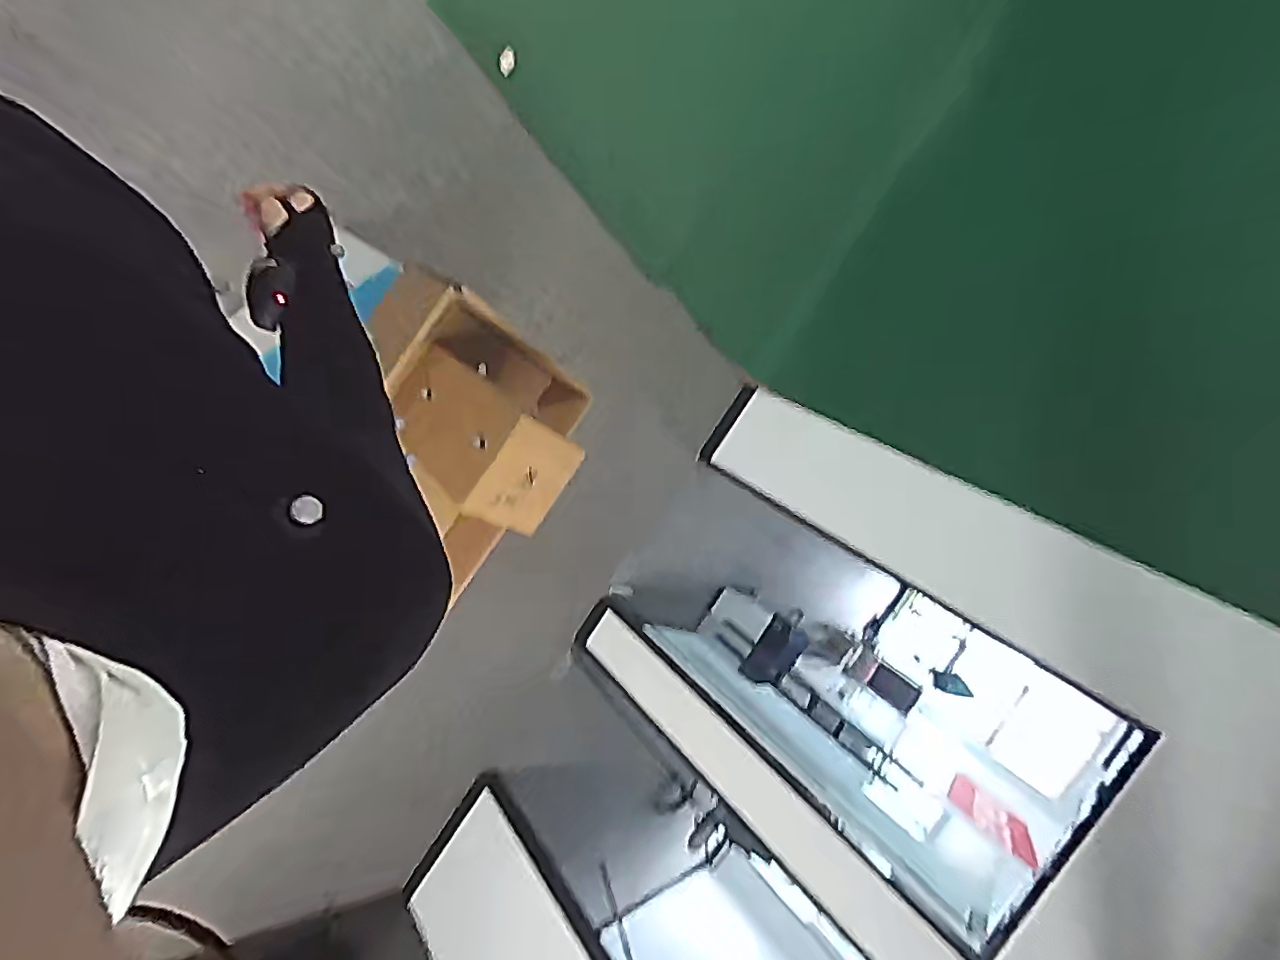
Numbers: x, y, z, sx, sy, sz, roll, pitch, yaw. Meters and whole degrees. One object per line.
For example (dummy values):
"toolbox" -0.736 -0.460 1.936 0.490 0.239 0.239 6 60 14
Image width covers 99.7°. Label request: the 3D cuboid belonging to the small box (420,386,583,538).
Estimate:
"small box" -0.239 -0.033 0.920 0.179 0.176 0.168 -55 144 2
